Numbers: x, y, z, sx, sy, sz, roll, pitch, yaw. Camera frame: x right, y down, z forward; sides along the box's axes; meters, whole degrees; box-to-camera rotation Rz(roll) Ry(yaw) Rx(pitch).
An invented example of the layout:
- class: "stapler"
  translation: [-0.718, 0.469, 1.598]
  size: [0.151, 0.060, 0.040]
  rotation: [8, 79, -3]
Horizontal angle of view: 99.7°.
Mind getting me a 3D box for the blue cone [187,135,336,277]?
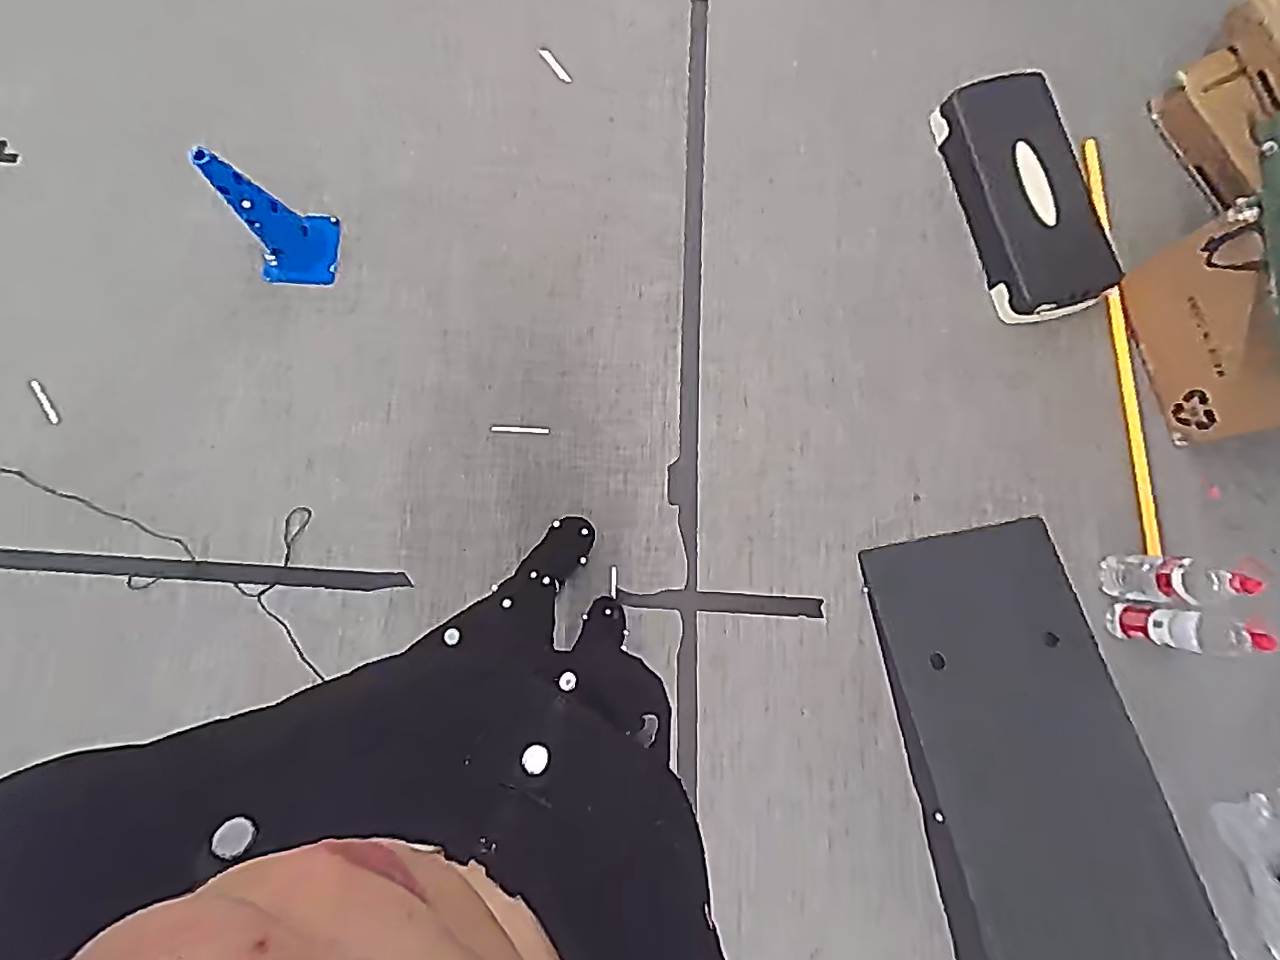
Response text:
- class: "blue cone"
  translation: [-0.928, -0.666, 1.307]
  size: [0.193, 0.380, 0.192]
  rotation: [4, 81, 0]
